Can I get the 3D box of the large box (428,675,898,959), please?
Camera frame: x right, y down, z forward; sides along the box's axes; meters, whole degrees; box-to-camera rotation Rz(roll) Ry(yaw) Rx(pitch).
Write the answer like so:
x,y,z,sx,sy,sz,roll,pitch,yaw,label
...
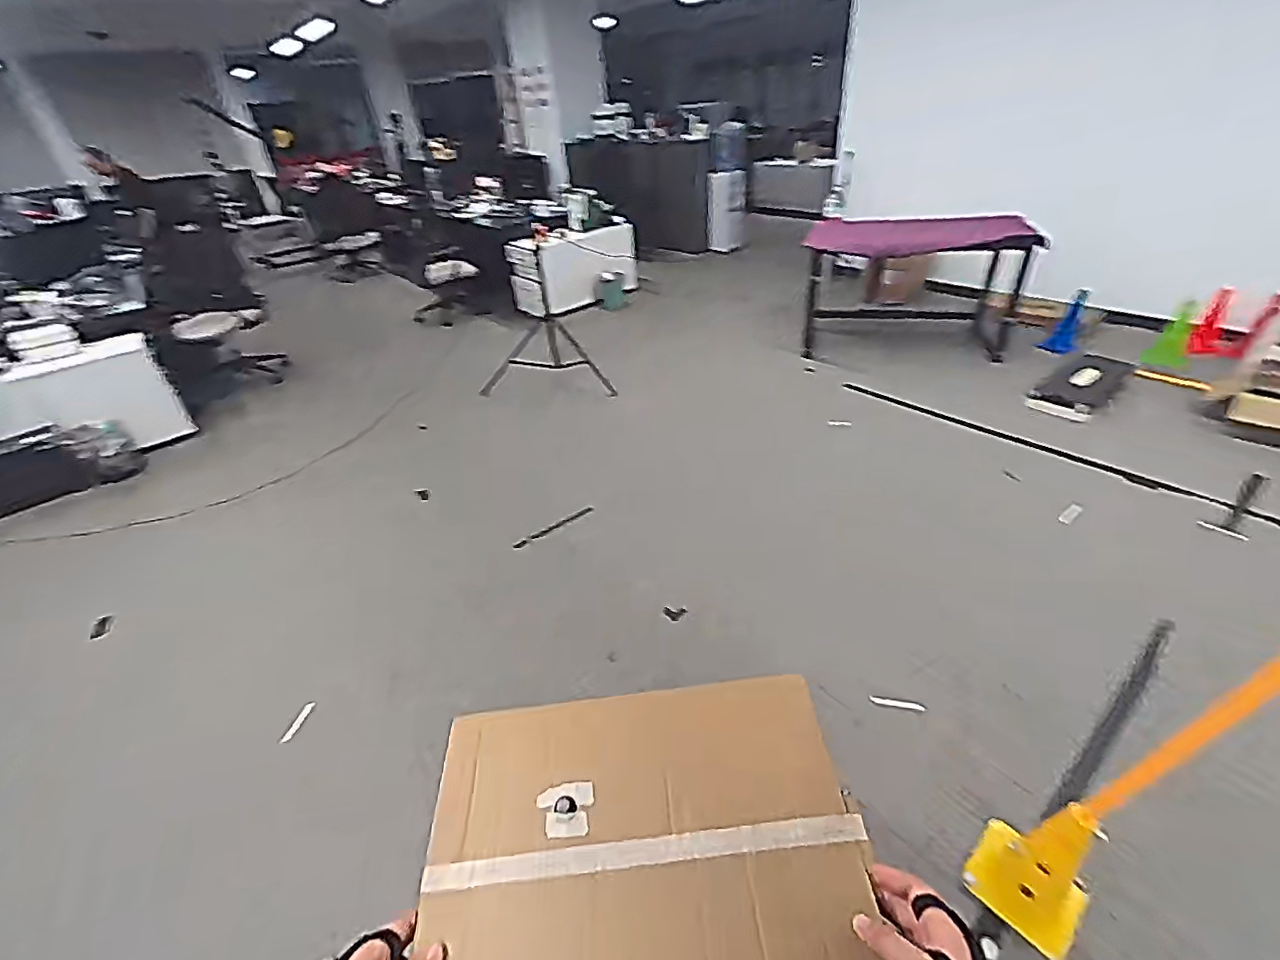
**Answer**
x,y,z,sx,sy,sz,roll,pitch,yaw,label
0.029,0.461,0.611,0.408,0.320,0.320,-9,41,4,large box
